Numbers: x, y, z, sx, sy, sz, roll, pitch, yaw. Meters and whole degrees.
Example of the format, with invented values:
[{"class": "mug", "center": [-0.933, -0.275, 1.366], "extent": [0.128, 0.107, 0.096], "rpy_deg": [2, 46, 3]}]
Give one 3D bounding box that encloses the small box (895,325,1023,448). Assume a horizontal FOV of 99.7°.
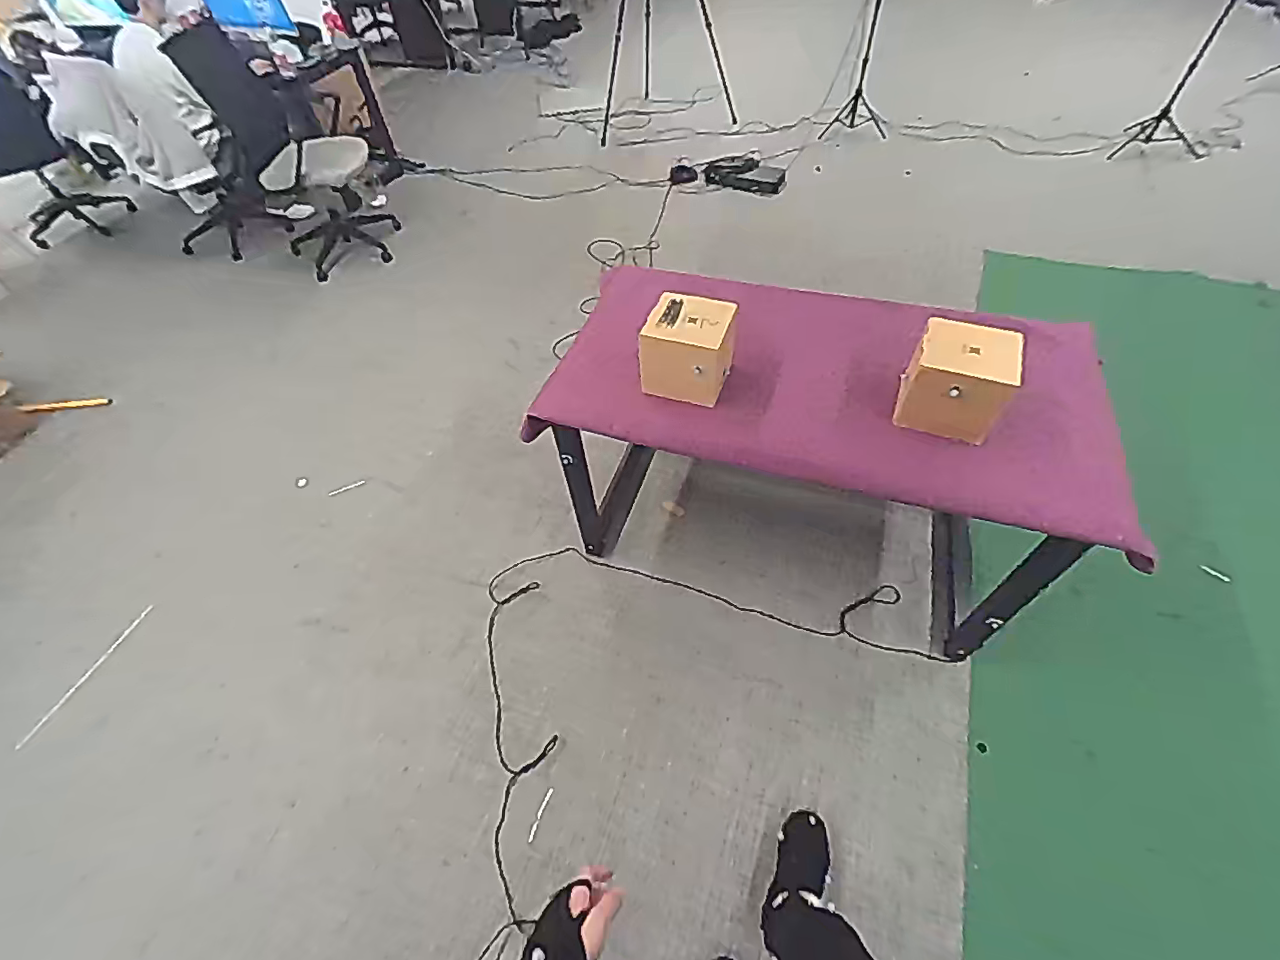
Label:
[{"class": "small box", "center": [0.657, -0.190, 1.123], "extent": [0.179, 0.176, 0.168], "rpy_deg": [18, 55, 18]}]
